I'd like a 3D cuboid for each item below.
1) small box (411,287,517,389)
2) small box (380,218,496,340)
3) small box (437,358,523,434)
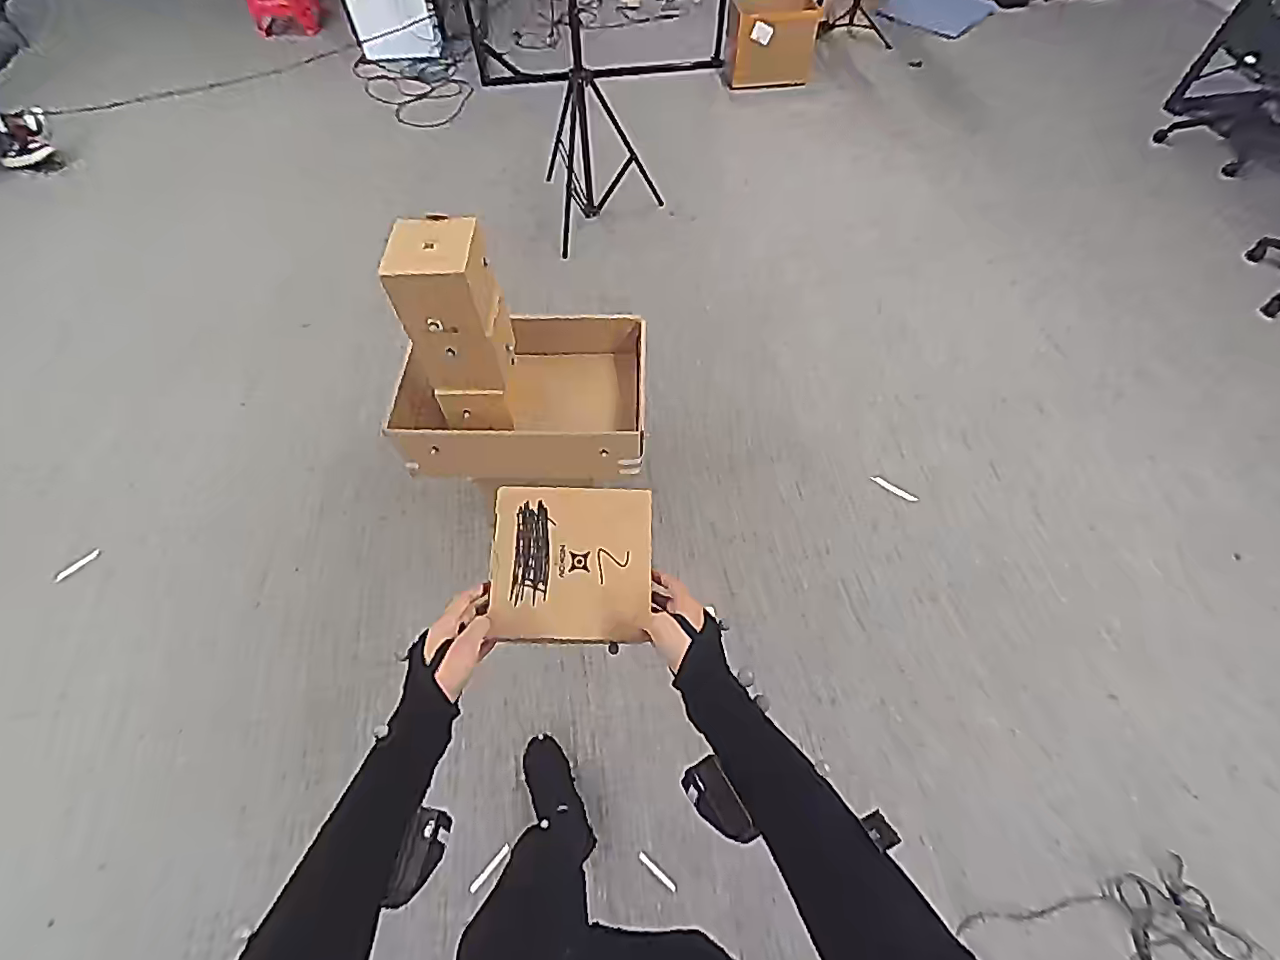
[{"bbox_3d":[-0.396,-0.324,1.247,0.179,0.176,0.168,1,59,0],"label":"small box"},{"bbox_3d":[-0.401,-0.409,1.107,0.168,0.176,0.179,-2,58,0],"label":"small box"},{"bbox_3d":[-0.400,-0.232,1.384,0.168,0.176,0.179,0,58,-1],"label":"small box"}]
